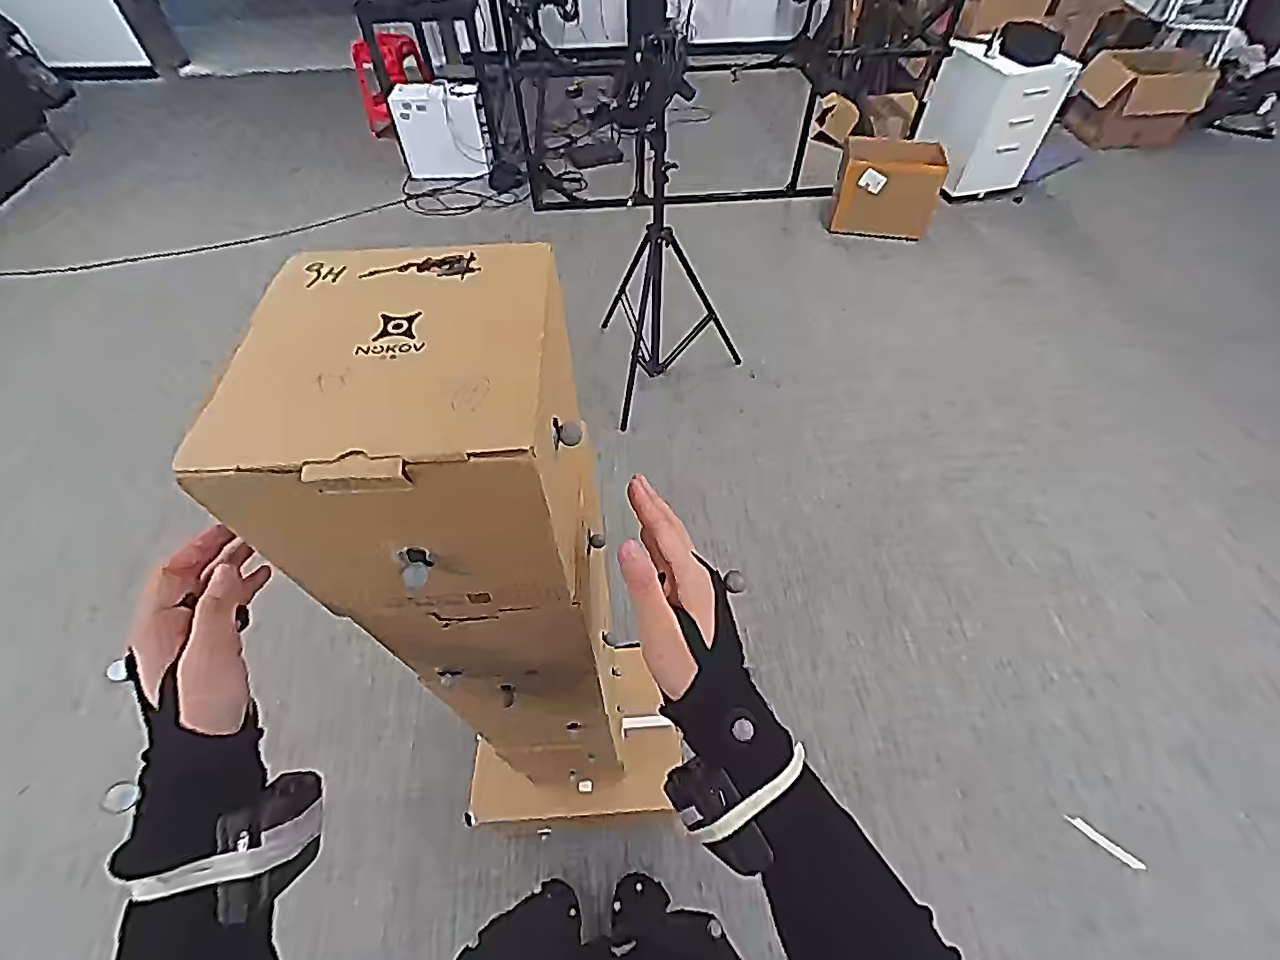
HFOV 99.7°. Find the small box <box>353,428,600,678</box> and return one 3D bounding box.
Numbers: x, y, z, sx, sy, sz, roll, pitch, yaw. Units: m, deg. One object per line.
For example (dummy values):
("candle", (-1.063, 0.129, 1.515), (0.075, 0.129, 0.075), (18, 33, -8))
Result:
("small box", (-0.124, 0.074, 0.495), (0.168, 0.176, 0.179), (-2, 53, -1))

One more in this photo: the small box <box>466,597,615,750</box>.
("small box", (-0.123, 0.270, 0.755), (0.179, 0.176, 0.168), (-2, 53, -1))

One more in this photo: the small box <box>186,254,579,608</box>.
("small box", (-0.131, -0.023, 0.362), (0.168, 0.176, 0.179), (-3, 54, -1))

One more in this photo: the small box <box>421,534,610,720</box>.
("small box", (-0.125, 0.173, 0.626), (0.179, 0.176, 0.168), (-2, 54, -1))

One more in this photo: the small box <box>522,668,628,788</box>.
("small box", (-0.118, 0.469, 1.016), (0.179, 0.176, 0.168), (-5, 54, -4))
